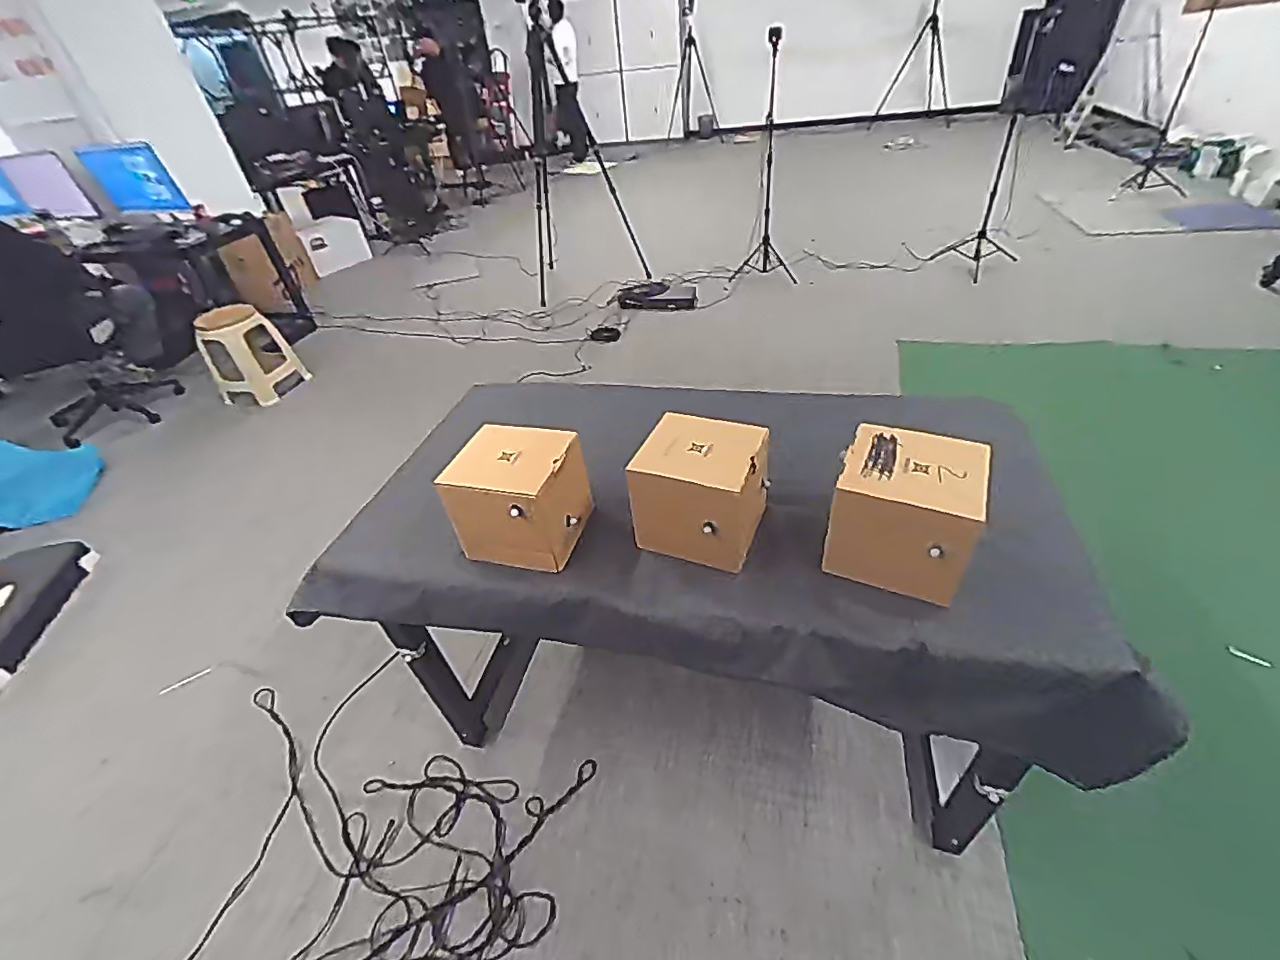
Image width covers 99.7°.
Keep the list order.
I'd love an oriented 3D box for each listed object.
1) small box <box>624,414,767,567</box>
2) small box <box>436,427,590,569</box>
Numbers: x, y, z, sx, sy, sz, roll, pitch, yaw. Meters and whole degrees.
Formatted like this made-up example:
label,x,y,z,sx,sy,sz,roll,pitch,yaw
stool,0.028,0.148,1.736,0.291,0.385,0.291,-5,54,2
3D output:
label,x,y,z,sx,sy,sz,roll,pitch,yaw
small box,0.096,0.016,0.865,0.179,0.176,0.168,10,41,23
small box,-0.199,0.029,0.899,0.179,0.176,0.168,6,40,15
